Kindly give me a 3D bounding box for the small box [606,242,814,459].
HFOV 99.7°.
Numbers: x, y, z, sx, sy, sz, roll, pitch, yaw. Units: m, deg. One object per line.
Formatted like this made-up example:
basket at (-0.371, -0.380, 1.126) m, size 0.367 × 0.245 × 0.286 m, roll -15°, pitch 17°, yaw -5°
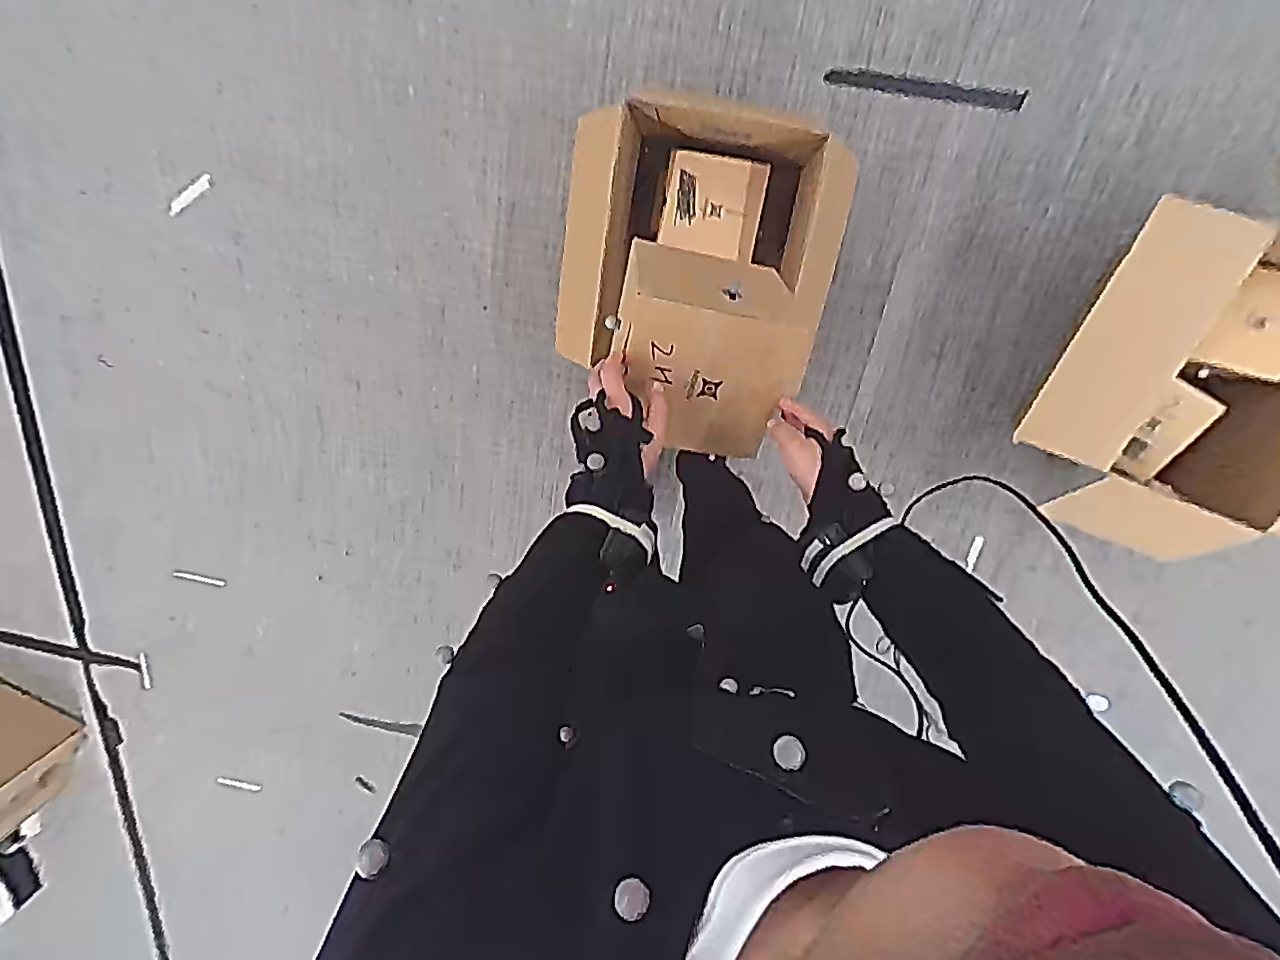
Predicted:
small box at (0.063, -0.149, 0.610) m, size 0.179 × 0.176 × 0.168 m, roll 9°, pitch 128°, yaw -9°
